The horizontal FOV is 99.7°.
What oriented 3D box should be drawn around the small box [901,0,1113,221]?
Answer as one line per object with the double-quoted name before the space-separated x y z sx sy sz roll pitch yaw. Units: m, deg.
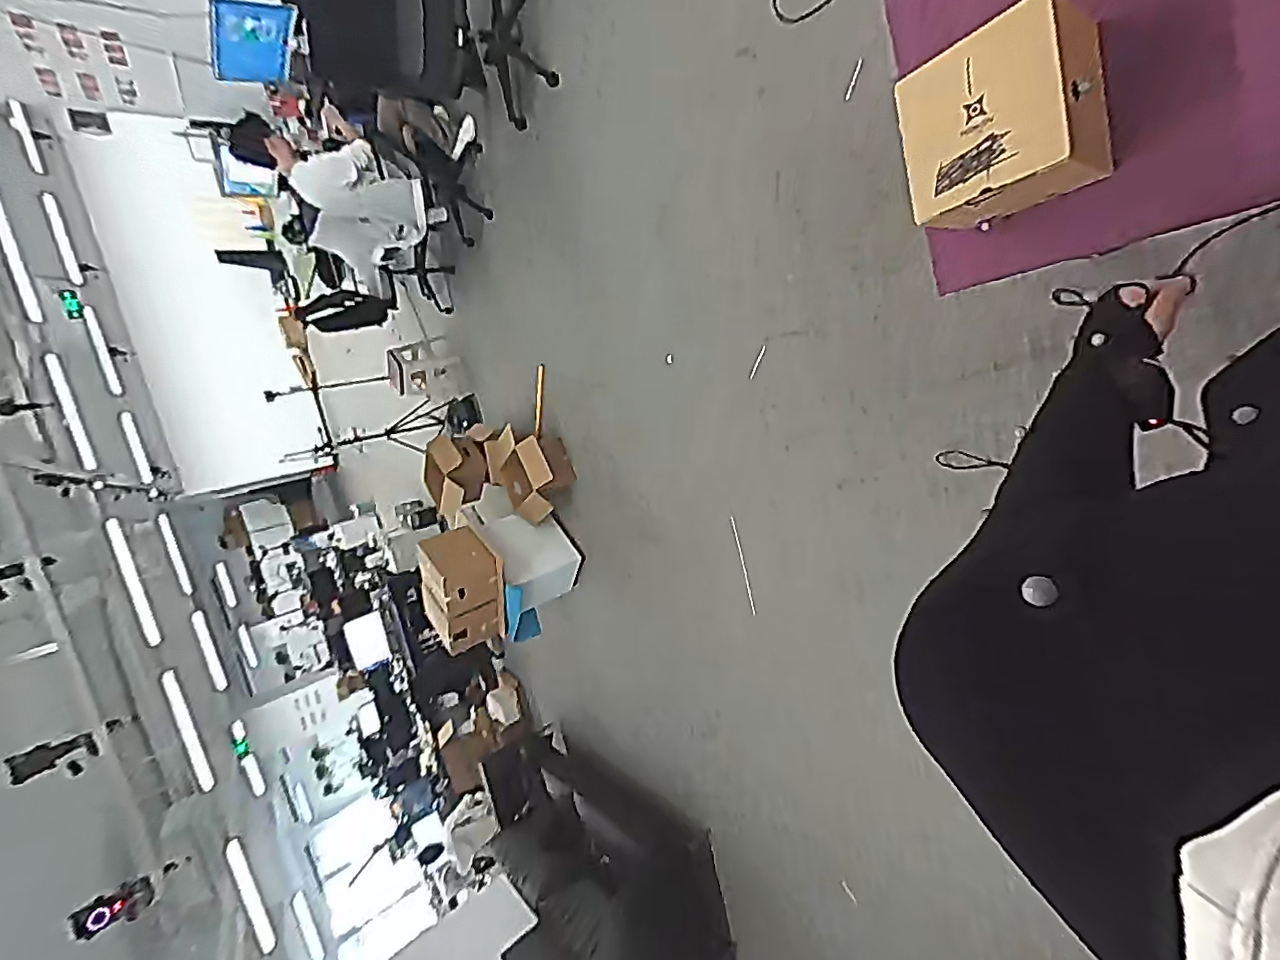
"small box" 0.464 -0.448 0.682 0.168 0.176 0.179 -4 101 55
